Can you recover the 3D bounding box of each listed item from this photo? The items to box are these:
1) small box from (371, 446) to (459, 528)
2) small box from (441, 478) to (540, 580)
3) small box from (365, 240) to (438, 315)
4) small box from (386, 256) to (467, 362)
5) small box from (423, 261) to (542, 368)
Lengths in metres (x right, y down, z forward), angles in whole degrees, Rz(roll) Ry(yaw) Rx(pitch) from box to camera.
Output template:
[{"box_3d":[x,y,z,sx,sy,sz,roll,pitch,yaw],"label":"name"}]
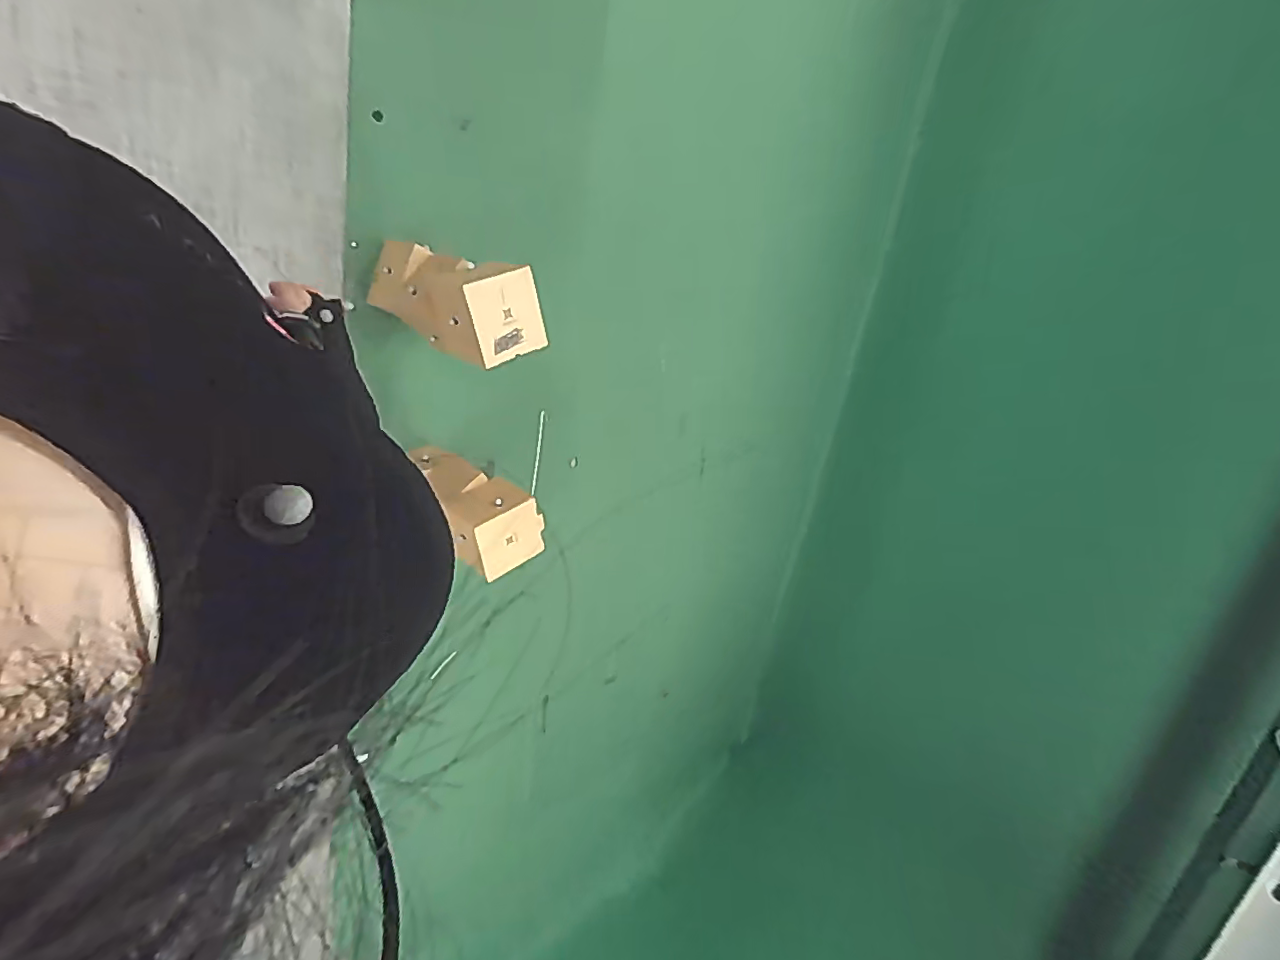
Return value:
[{"box_3d":[-0.640,0.011,1.550,0.179,0.176,0.168,-20,123,-43],"label":"small box"},{"box_3d":[-0.384,0.117,1.372,0.179,0.176,0.168,-30,130,-37],"label":"small box"},{"box_3d":[-0.567,-0.491,1.378,0.179,0.176,0.168,16,97,-52],"label":"small box"},{"box_3d":[-0.460,-0.409,1.282,0.168,0.176,0.179,-55,141,-12],"label":"small box"},{"box_3d":[-0.341,-0.366,1.177,0.168,0.176,0.179,-33,130,-33],"label":"small box"}]
